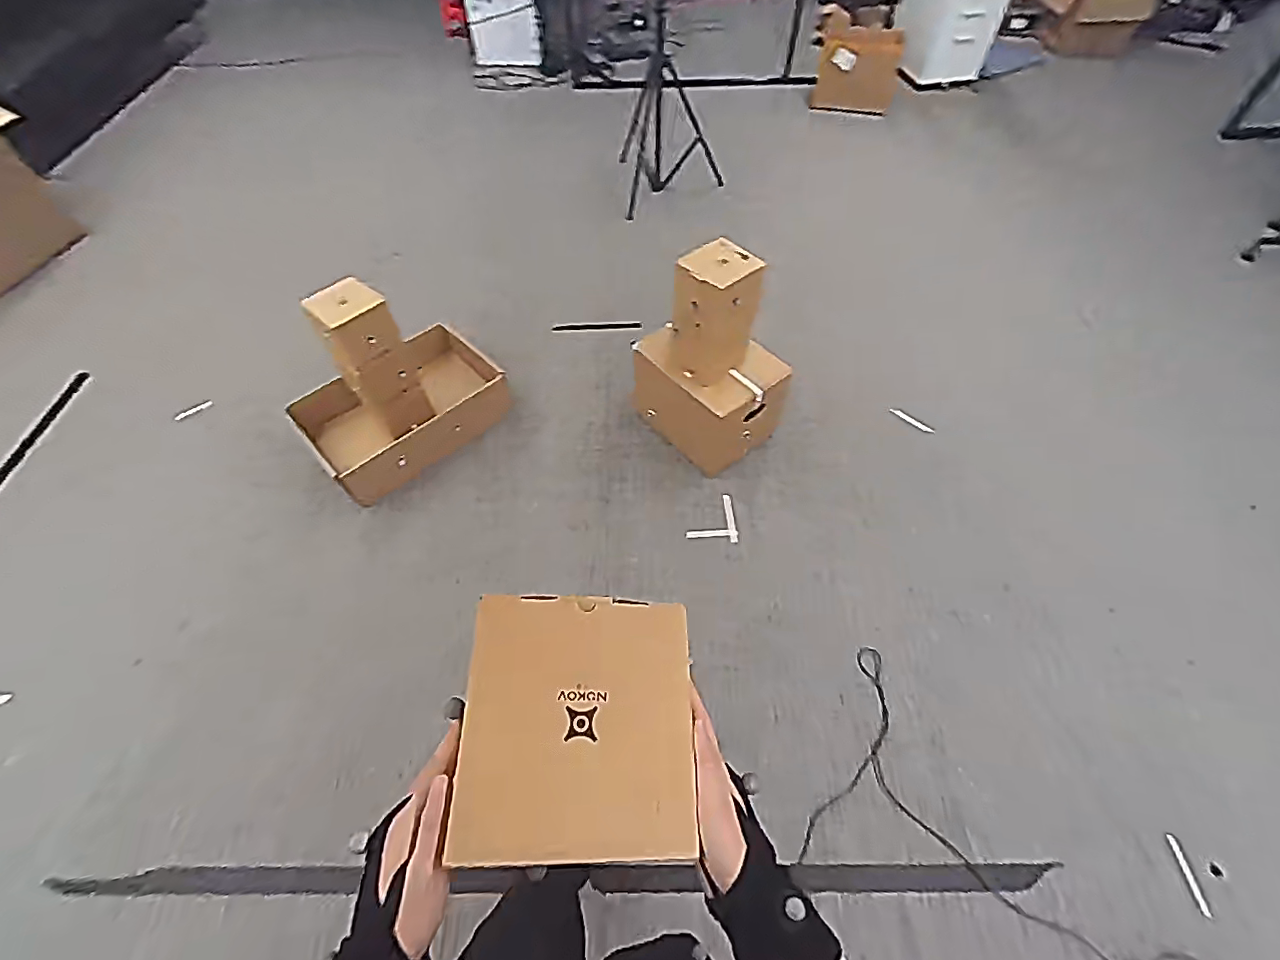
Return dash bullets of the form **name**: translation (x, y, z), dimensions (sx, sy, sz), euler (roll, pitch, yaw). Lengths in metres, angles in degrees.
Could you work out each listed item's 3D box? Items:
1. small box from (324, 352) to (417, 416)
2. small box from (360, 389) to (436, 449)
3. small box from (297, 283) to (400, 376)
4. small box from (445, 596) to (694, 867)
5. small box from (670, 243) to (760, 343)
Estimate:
- **small box**: translation (-0.832, -0.327, 1.689), dimensions (0.179, 0.176, 0.168), euler (34, 60, 23)
- **small box**: translation (-0.824, -0.235, 1.822), dimensions (0.179, 0.176, 0.168), euler (39, 64, 24)
- **small box**: translation (-0.828, -0.426, 1.556), dimensions (0.179, 0.176, 0.168), euler (34, 60, 22)
- **small box**: translation (-0.056, 0.213, 0.460), dimensions (0.168, 0.176, 0.179), euler (5, 58, -9)
- **small box**: translation (0.199, -0.505, 1.473), dimensions (0.179, 0.176, 0.168), euler (-36, 62, -21)
